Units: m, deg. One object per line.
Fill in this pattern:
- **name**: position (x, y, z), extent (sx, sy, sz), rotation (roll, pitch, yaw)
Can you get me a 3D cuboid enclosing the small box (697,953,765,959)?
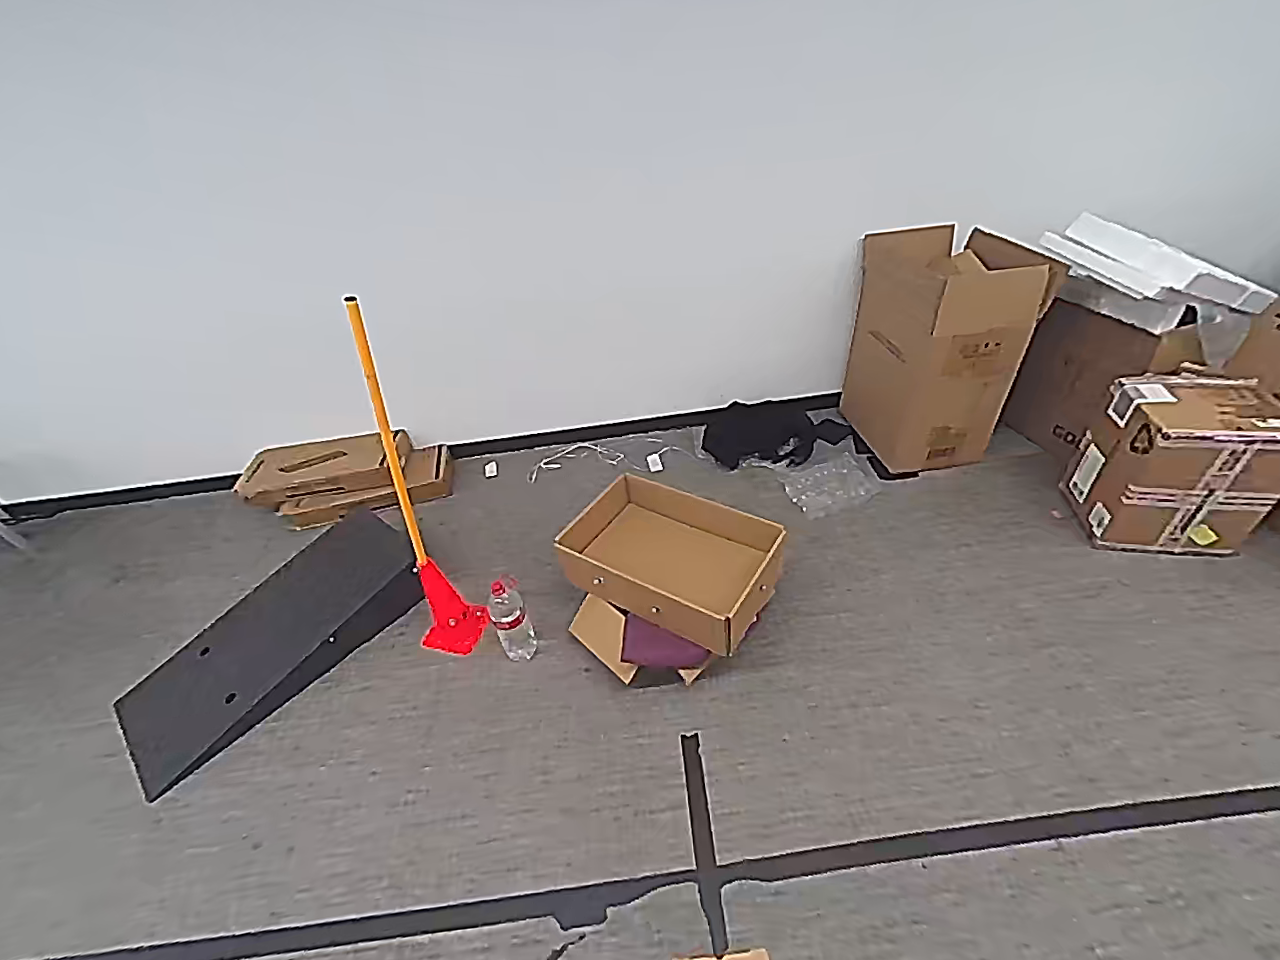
- **small box**: position (0.140, 0.923, 0.895), extent (0.168, 0.176, 0.179), rotation (-7, 39, 1)
